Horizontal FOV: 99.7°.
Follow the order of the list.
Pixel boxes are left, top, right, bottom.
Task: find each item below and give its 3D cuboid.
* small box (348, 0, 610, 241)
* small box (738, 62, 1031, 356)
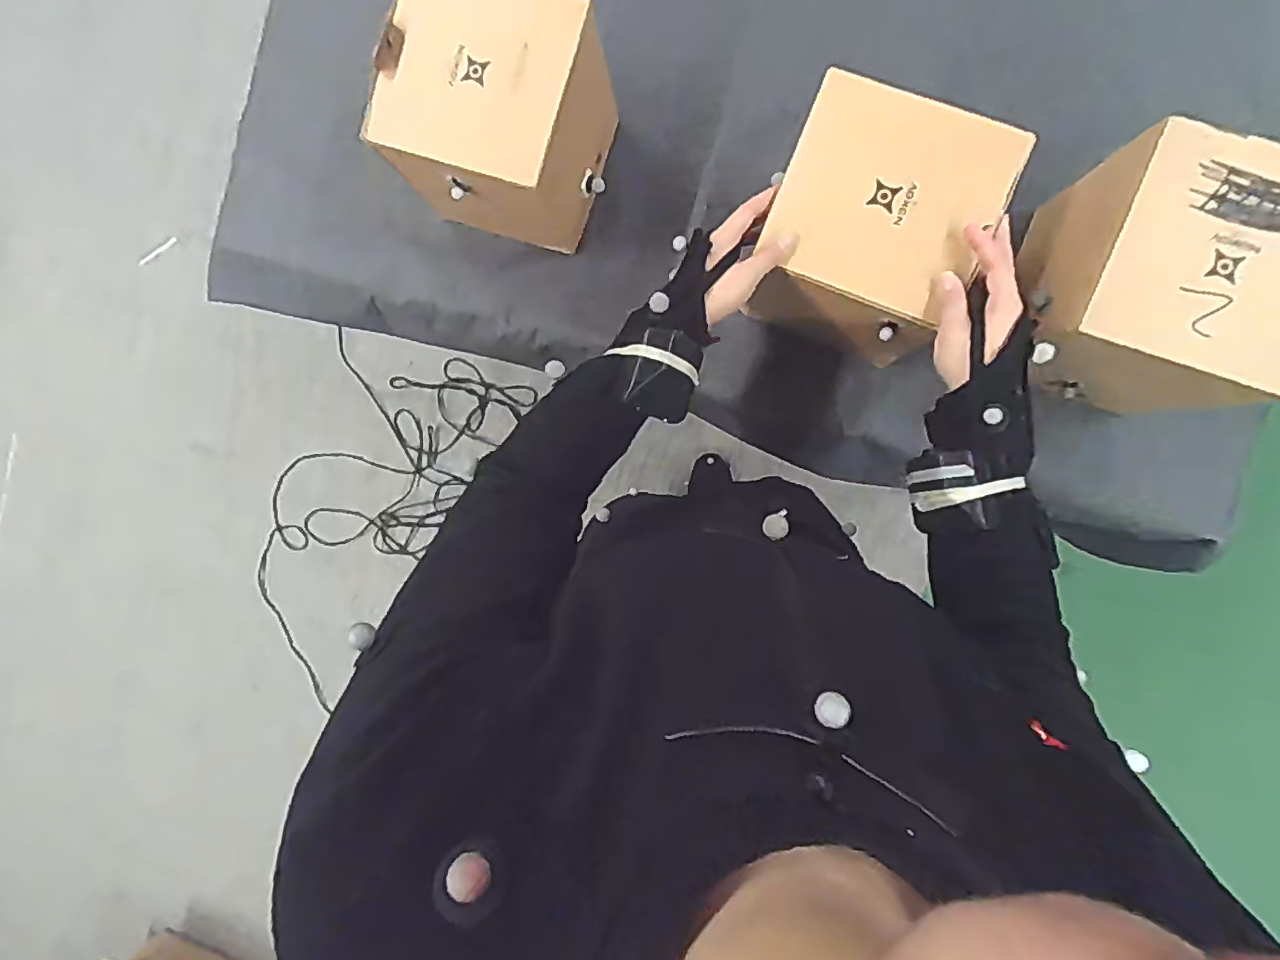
[{"bbox_3d":[-0.144,-0.366,0.542,0.179,0.176,0.168,18,95,4],"label":"small box"},{"bbox_3d":[0.205,-0.233,0.514,0.179,0.176,0.168,23,94,4],"label":"small box"}]
